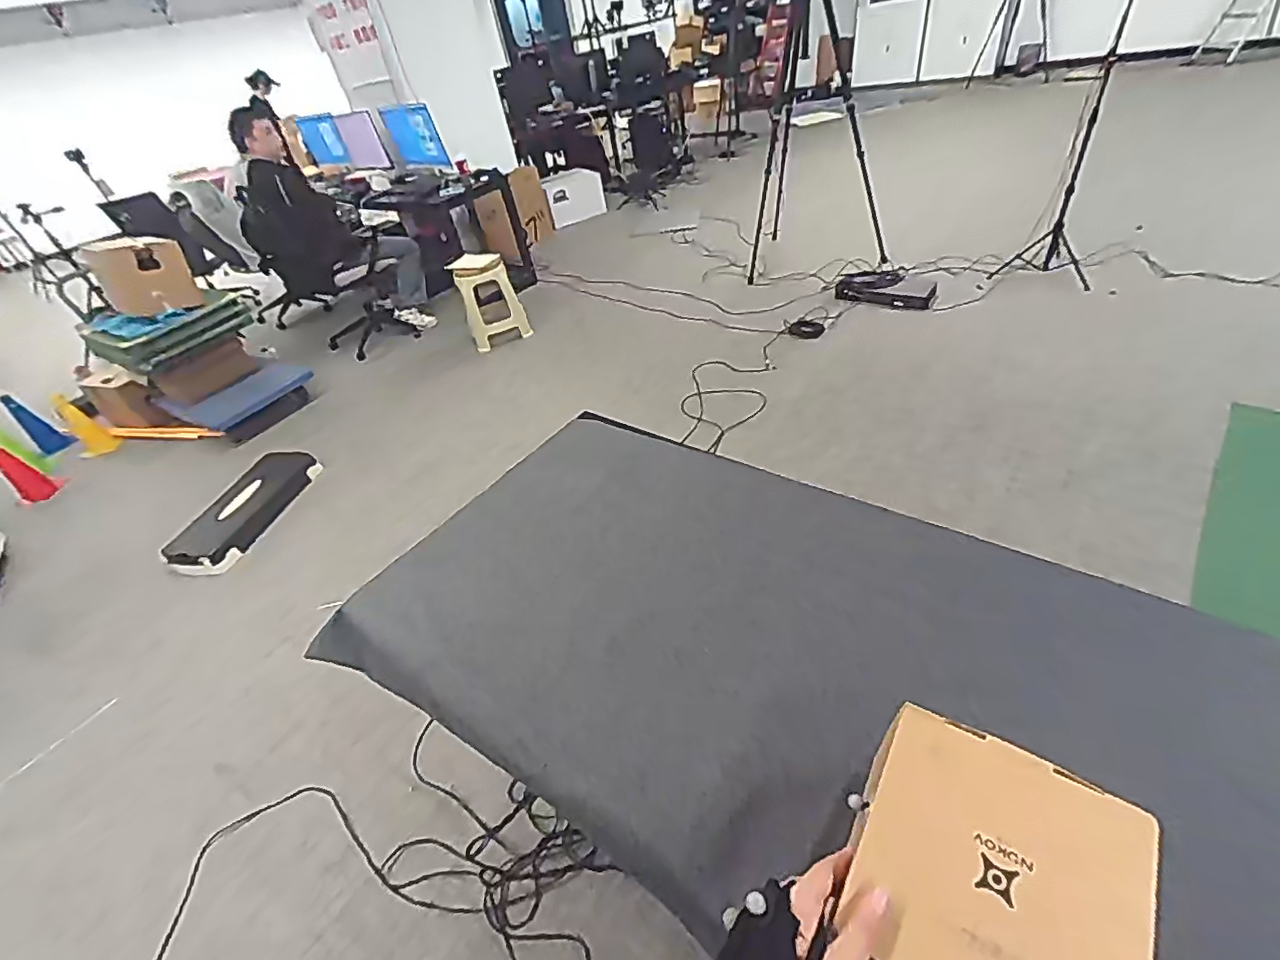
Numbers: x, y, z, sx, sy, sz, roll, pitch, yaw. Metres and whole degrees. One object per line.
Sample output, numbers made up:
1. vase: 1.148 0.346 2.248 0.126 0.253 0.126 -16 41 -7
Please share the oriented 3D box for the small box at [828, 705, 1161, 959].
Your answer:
1. small box: 0.256 0.318 0.421 0.168 0.176 0.179 19 56 28
